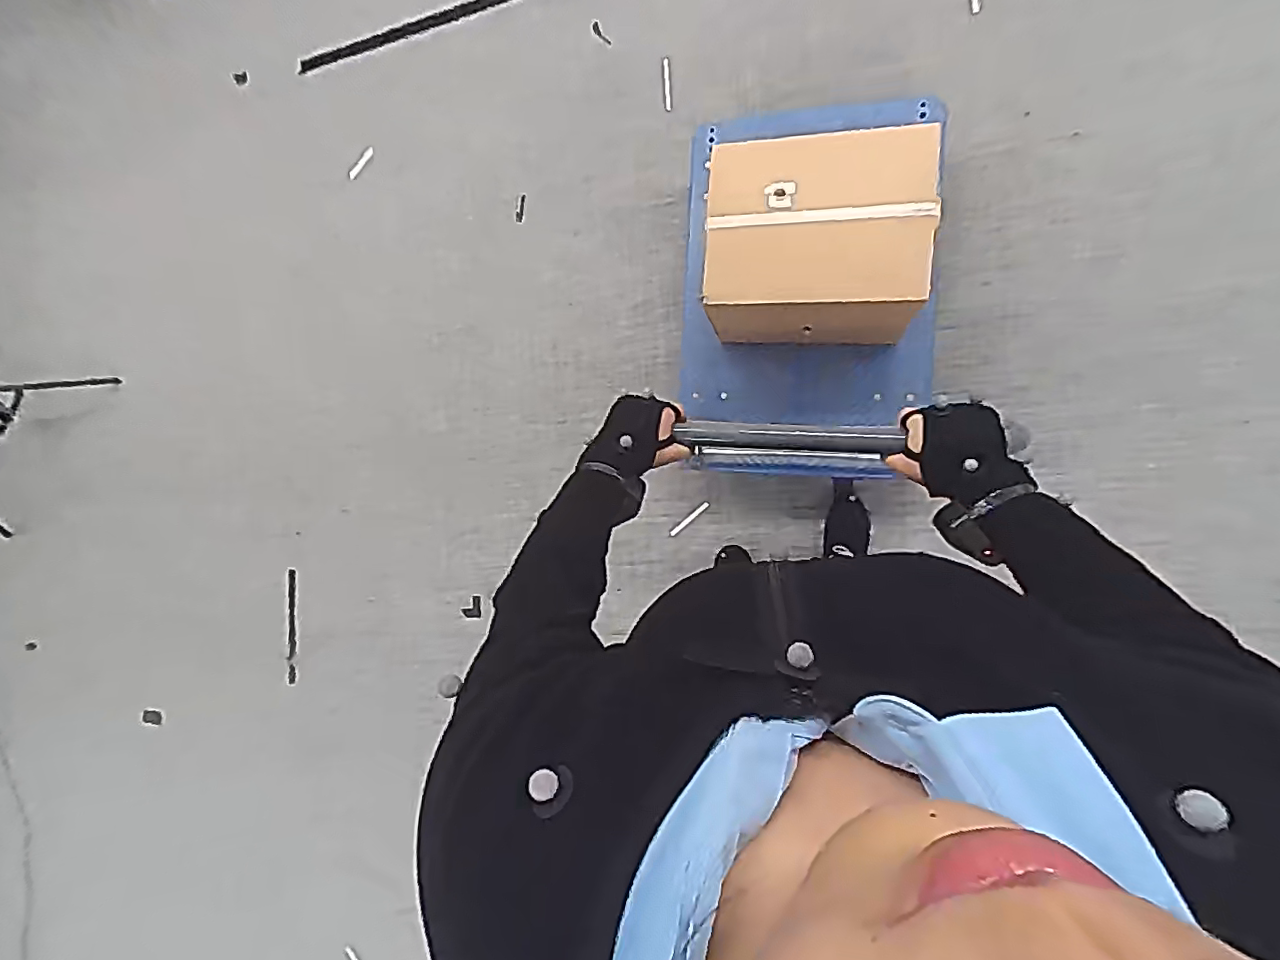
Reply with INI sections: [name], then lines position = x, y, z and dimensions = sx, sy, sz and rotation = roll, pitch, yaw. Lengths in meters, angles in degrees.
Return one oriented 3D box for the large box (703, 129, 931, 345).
[large box]
position = 0.366, -0.480, 1.157
dimensions = 0.408, 0.320, 0.320
rotation = 4, 89, 17
